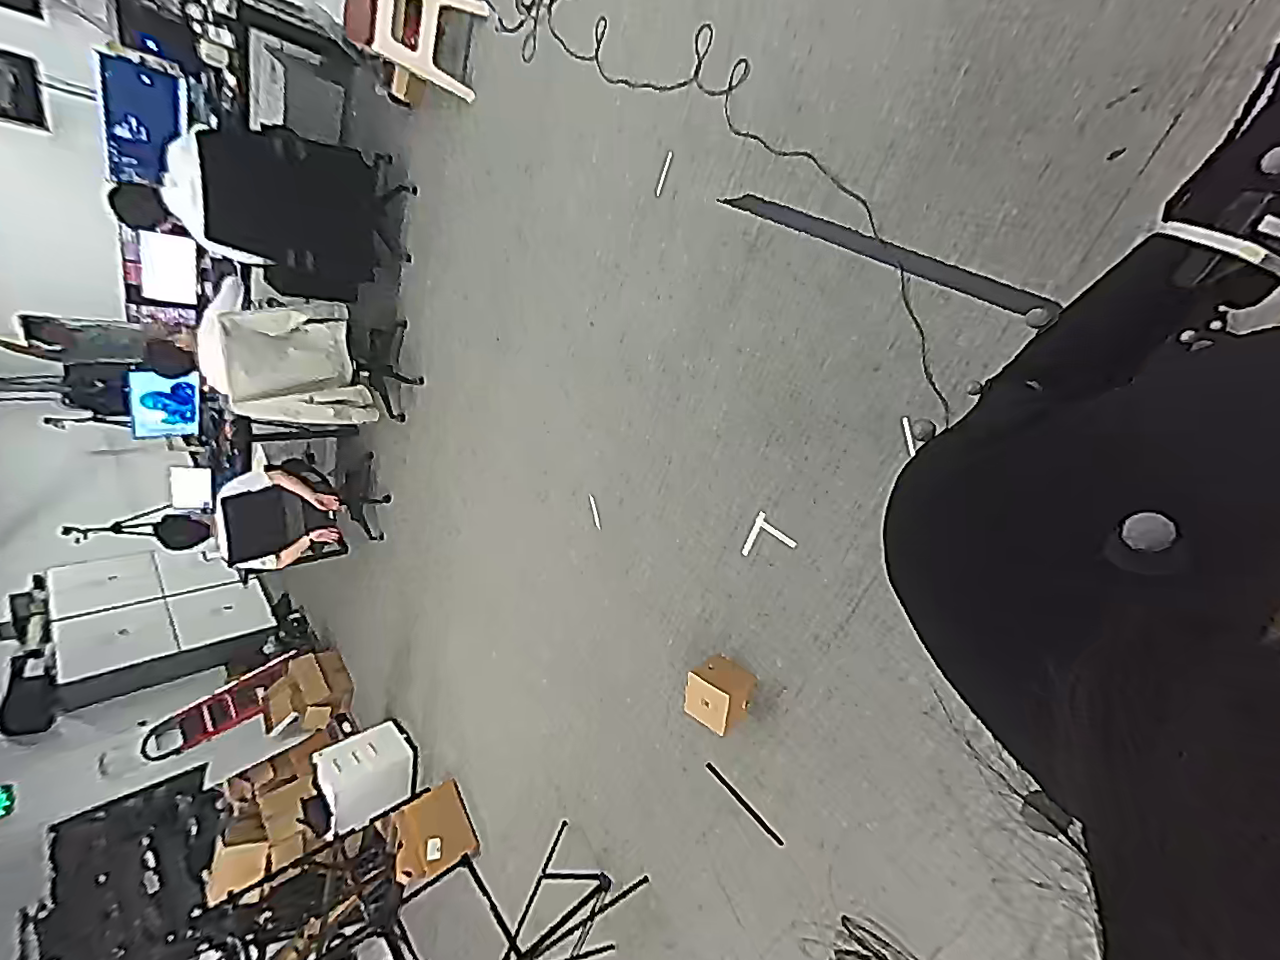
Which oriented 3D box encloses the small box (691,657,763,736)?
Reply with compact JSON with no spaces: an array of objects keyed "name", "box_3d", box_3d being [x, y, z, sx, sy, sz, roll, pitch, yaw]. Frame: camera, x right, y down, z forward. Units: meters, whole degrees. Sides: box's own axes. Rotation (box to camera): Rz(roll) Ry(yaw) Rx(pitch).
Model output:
[{"name":"small box","box_3d":[0.302,0.744,1.887,0.179,0.176,0.168,18,110,40]}]
